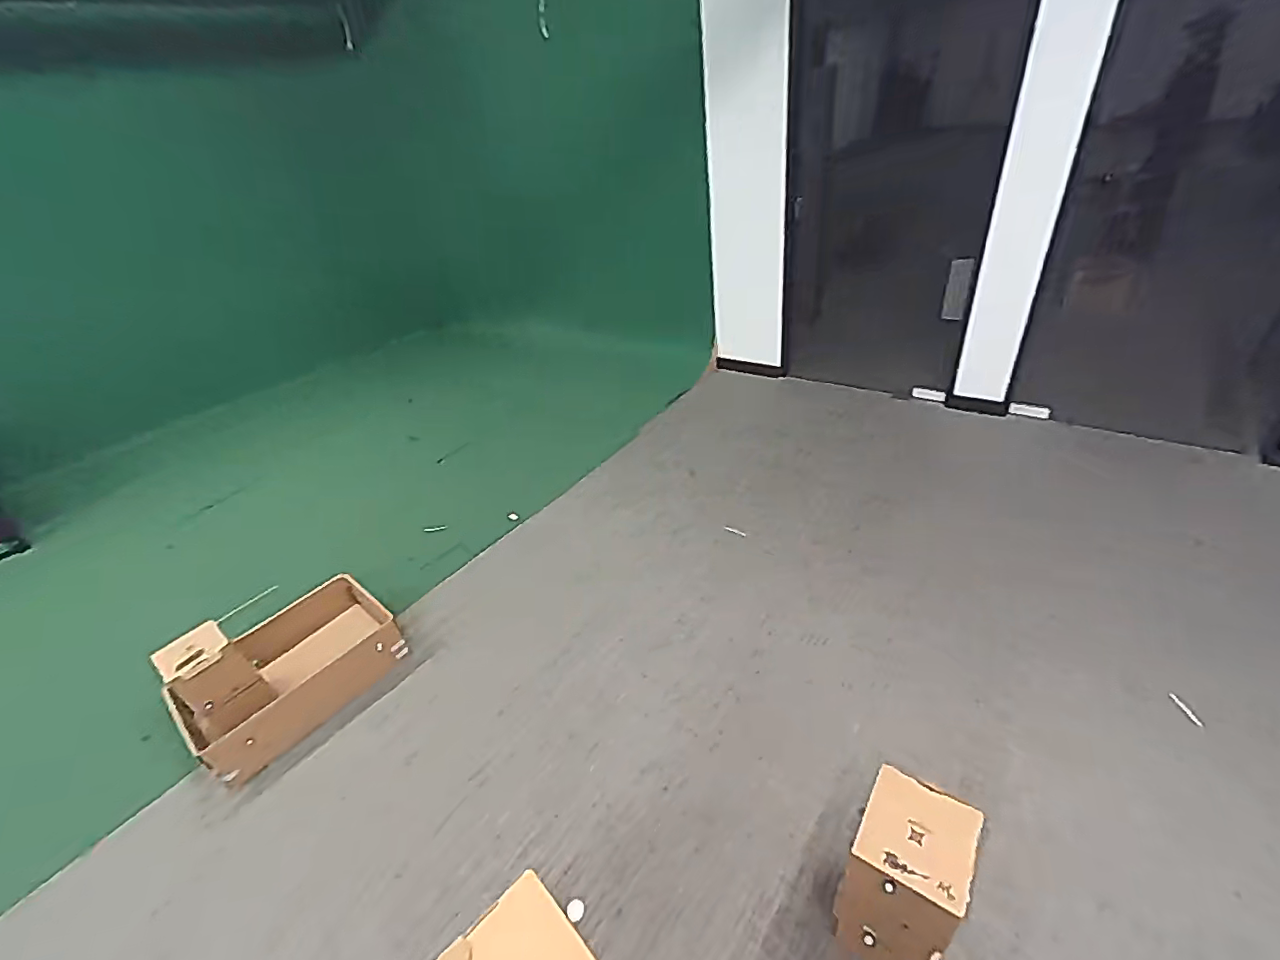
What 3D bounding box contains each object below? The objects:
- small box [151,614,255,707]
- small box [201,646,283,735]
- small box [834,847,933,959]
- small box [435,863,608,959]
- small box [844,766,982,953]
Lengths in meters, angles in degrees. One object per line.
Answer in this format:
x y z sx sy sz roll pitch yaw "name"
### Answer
-1.298 0.543 1.616 0.179 0.176 0.168 20 42 34 "small box"
-1.286 0.671 1.719 0.179 0.176 0.168 20 43 33 "small box"
0.482 0.782 1.037 0.168 0.176 0.179 17 43 33 "small box"
-0.073 0.432 0.380 0.168 0.176 0.179 -34 44 -32 "small box"
0.466 0.652 0.937 0.168 0.176 0.179 17 41 33 "small box"
